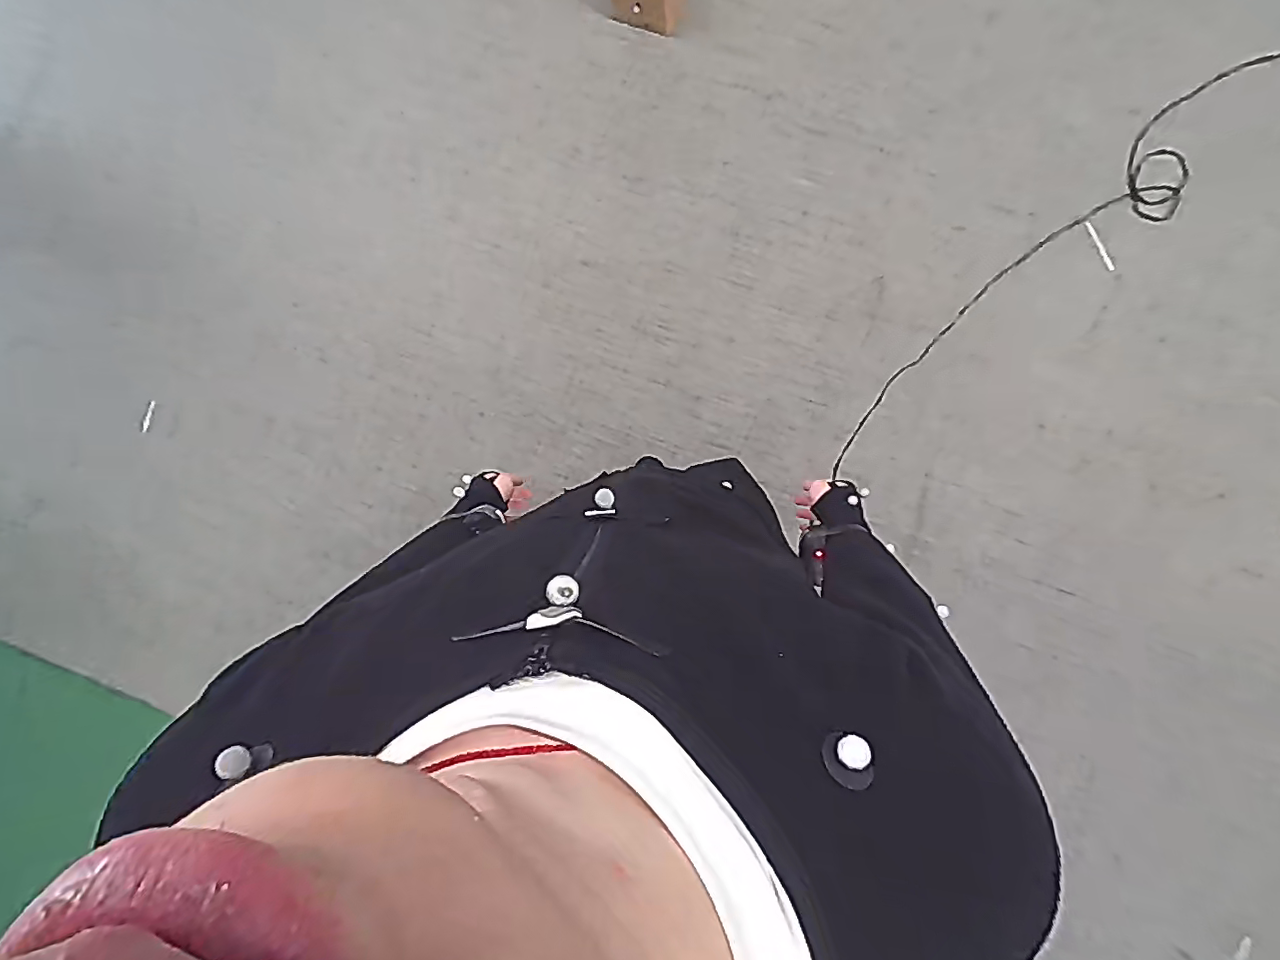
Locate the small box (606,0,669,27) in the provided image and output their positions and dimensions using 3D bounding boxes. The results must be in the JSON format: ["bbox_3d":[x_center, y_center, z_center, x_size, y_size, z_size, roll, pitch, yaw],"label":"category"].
[{"bbox_3d":[0.001,-1.359,1.430,0.168,0.176,0.179,19,93,5],"label":"small box"}]
